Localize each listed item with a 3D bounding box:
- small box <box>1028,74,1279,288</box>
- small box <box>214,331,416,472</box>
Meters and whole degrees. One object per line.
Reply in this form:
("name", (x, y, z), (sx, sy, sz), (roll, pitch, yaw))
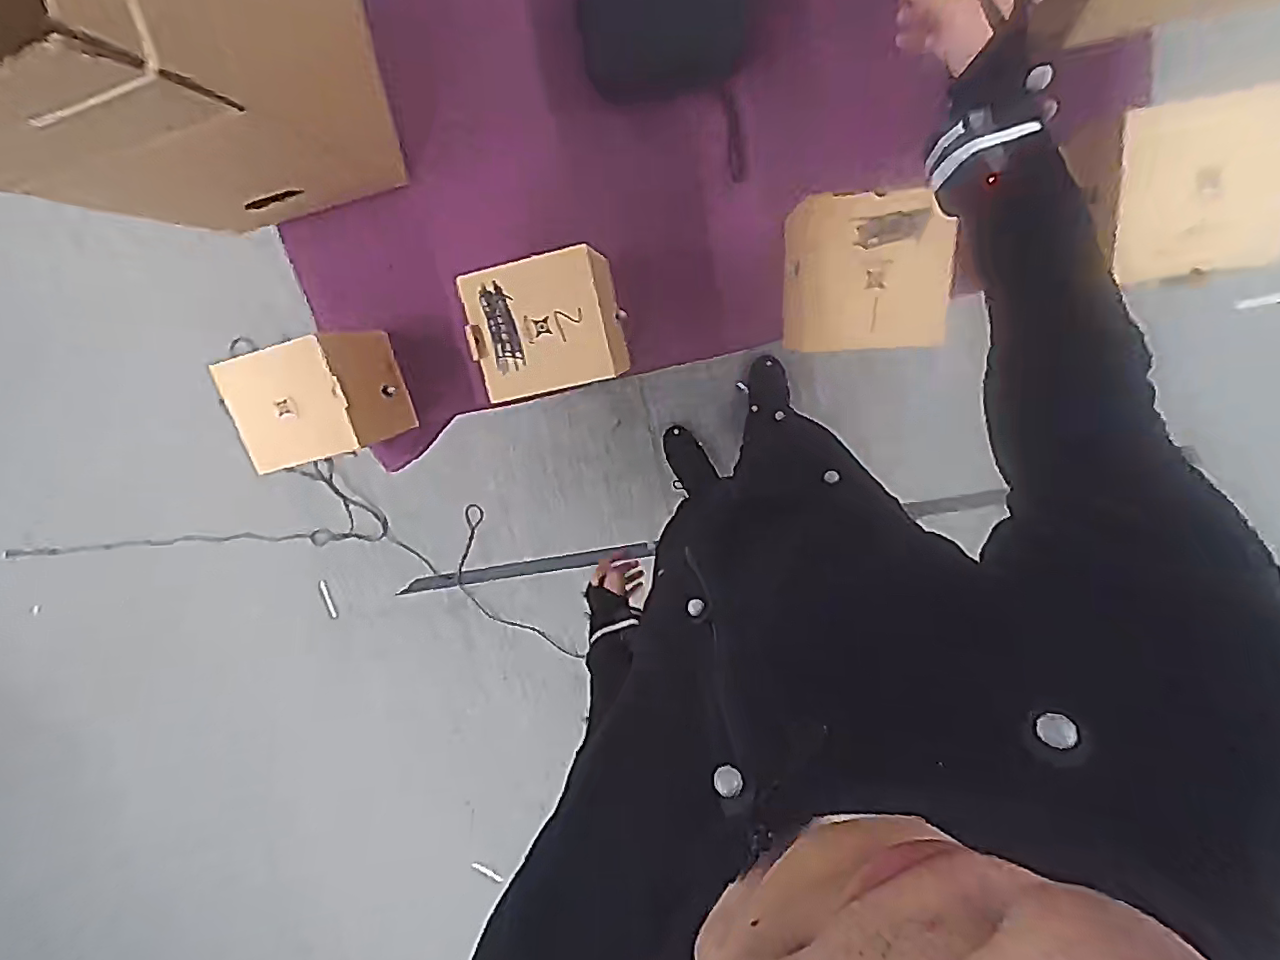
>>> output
("small box", (0.596, -0.335, 0.643), (0.168, 0.176, 0.179), (-6, 105, 9))
("small box", (-0.486, -0.126, 0.836), (0.179, 0.176, 0.168), (-14, 105, 9))
